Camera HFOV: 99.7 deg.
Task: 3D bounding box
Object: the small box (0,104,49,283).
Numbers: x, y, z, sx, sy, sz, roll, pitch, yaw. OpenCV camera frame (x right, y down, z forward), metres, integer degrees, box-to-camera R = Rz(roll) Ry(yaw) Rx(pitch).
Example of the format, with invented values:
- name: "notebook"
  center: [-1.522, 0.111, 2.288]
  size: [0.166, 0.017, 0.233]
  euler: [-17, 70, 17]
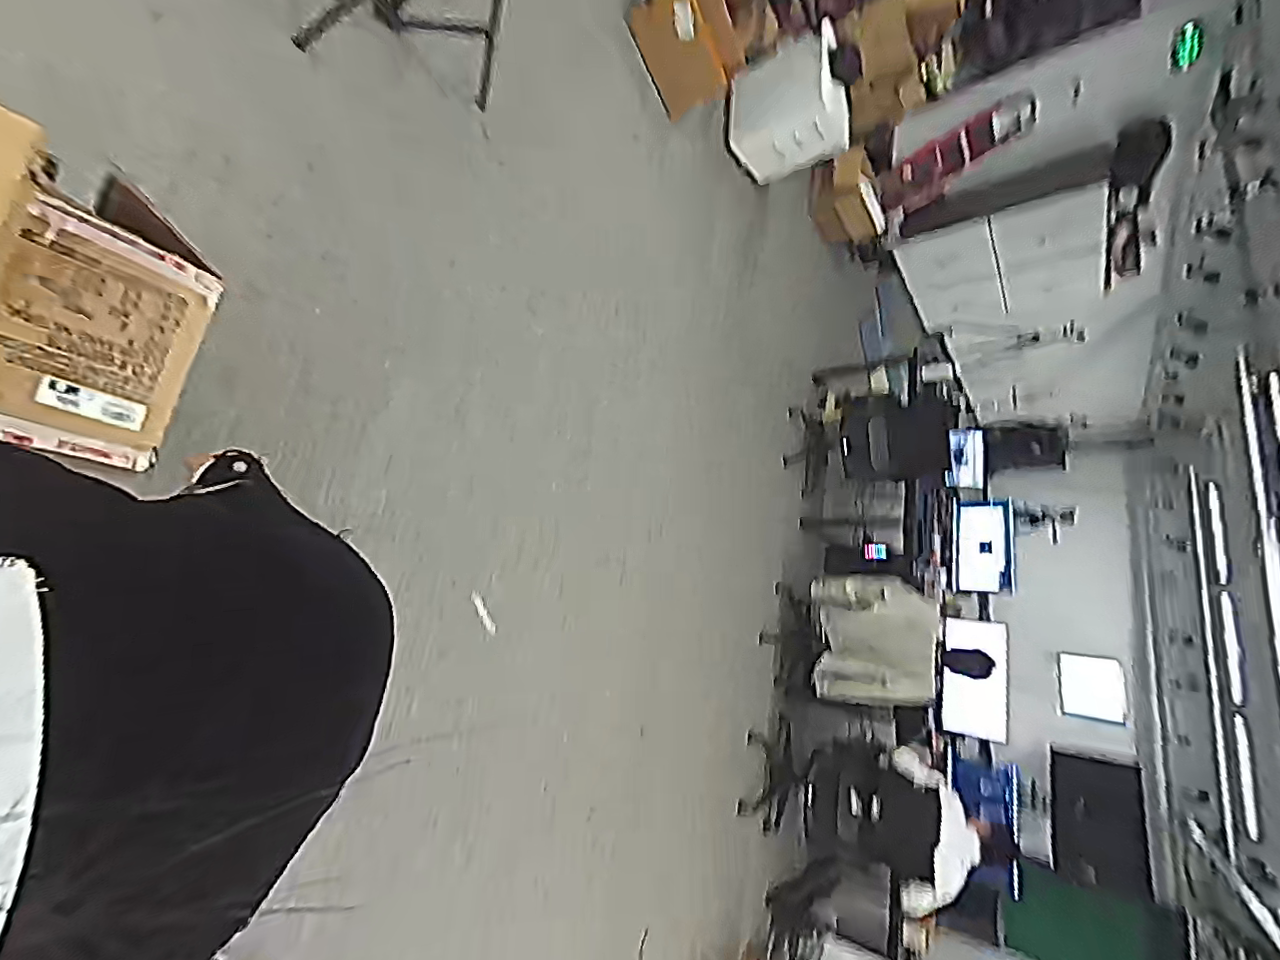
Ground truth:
- name: "small box"
  center: [-0.794, -0.335, 0.588]
  size: [0.168, 0.176, 0.179]
  euler: [21, 75, -46]
